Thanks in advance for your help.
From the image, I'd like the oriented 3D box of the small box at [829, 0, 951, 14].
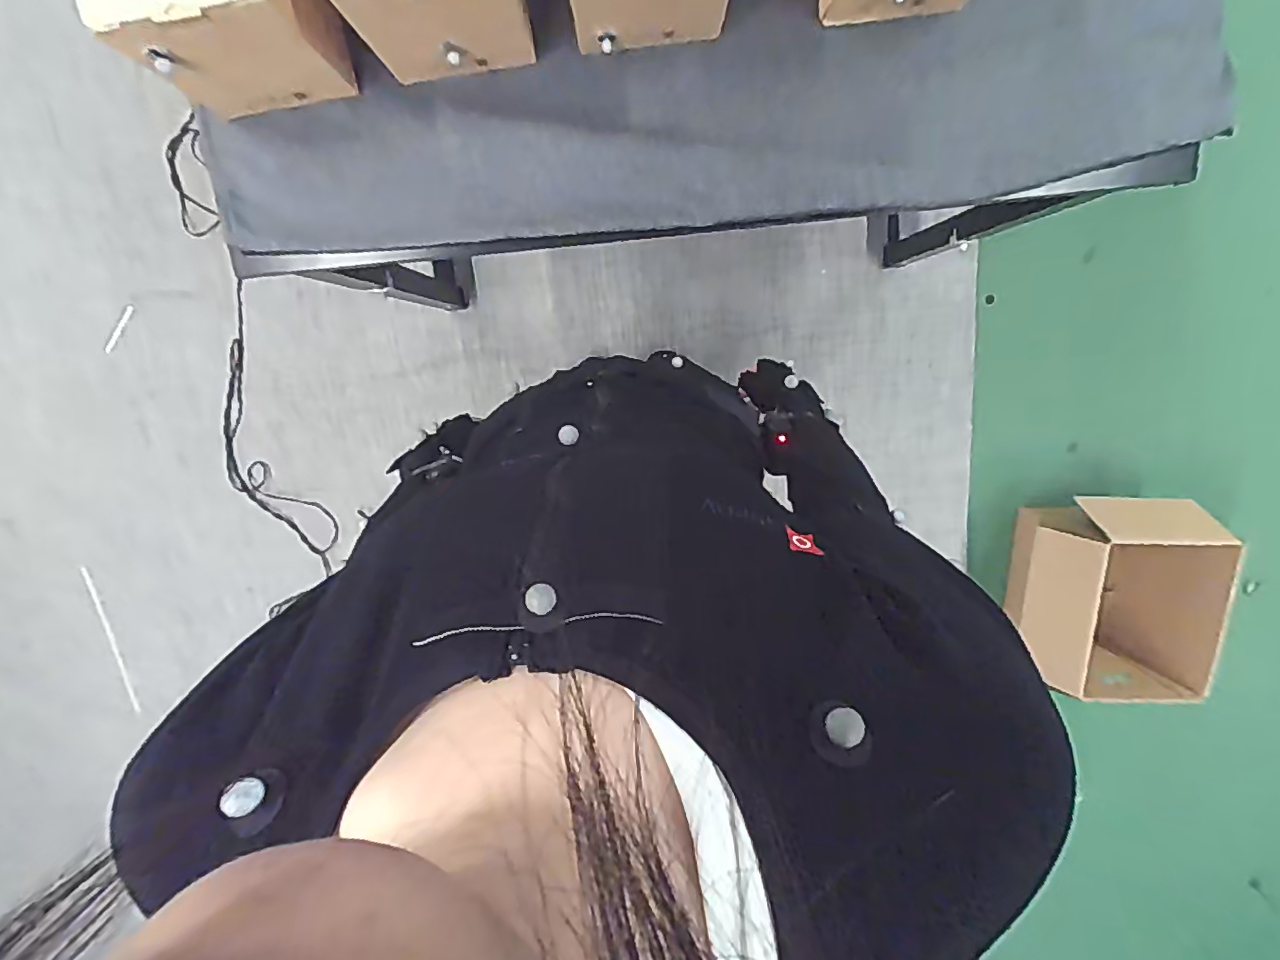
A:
[{"bbox_3d":[0.283,-0.610,0.525,0.168,0.176,0.179,-6,104,1],"label":"small box"}]
